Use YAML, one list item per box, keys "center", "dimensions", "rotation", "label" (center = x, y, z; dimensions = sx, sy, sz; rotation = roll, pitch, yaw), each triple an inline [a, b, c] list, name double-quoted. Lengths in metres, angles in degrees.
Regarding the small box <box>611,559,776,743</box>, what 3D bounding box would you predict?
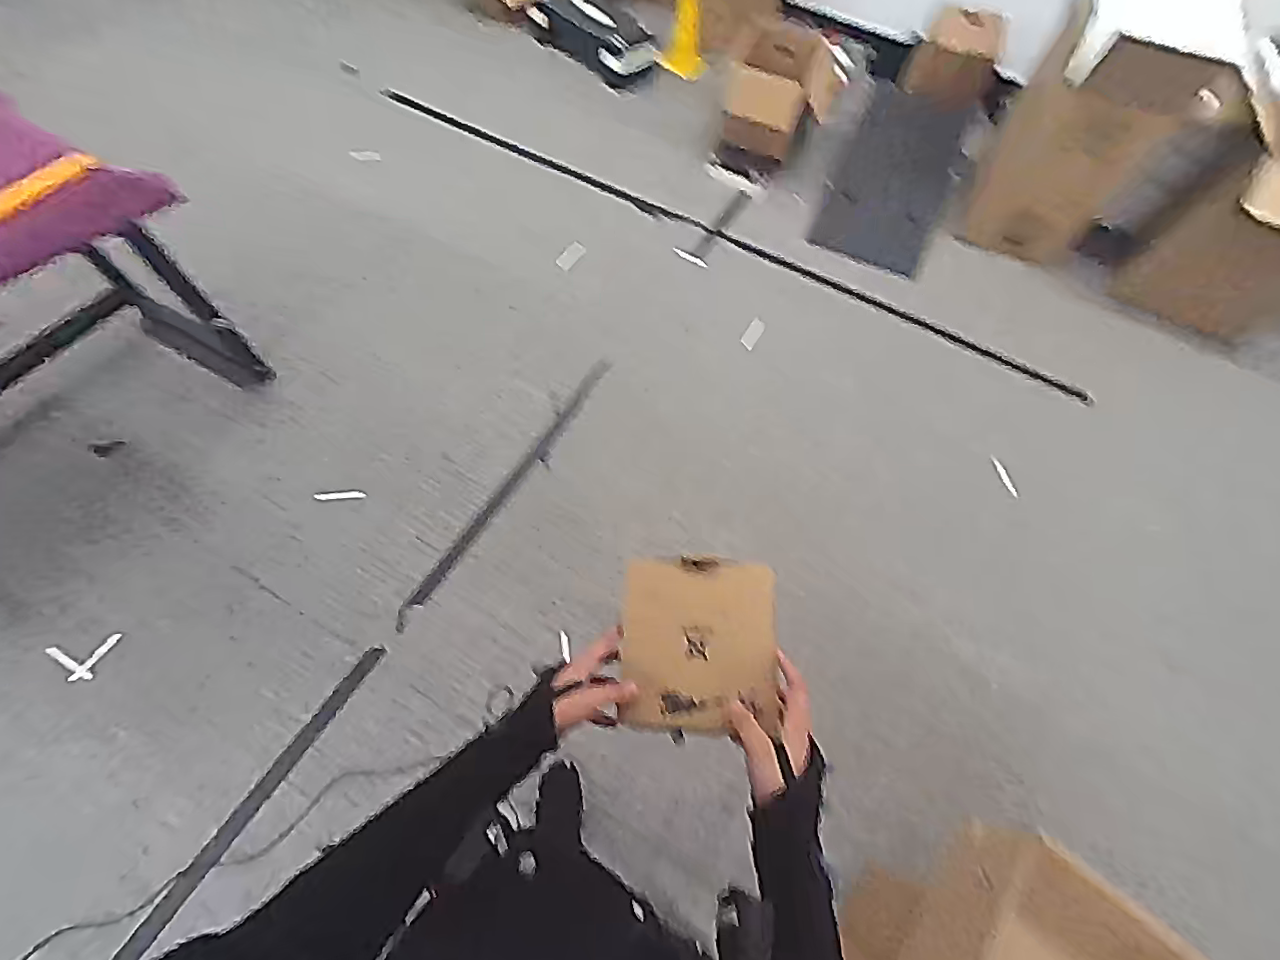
- center: [0.064, 0.206, 0.639]
  dimensions: [0.168, 0.176, 0.179]
  rotation: [1, 63, 7]
  label: "small box"
